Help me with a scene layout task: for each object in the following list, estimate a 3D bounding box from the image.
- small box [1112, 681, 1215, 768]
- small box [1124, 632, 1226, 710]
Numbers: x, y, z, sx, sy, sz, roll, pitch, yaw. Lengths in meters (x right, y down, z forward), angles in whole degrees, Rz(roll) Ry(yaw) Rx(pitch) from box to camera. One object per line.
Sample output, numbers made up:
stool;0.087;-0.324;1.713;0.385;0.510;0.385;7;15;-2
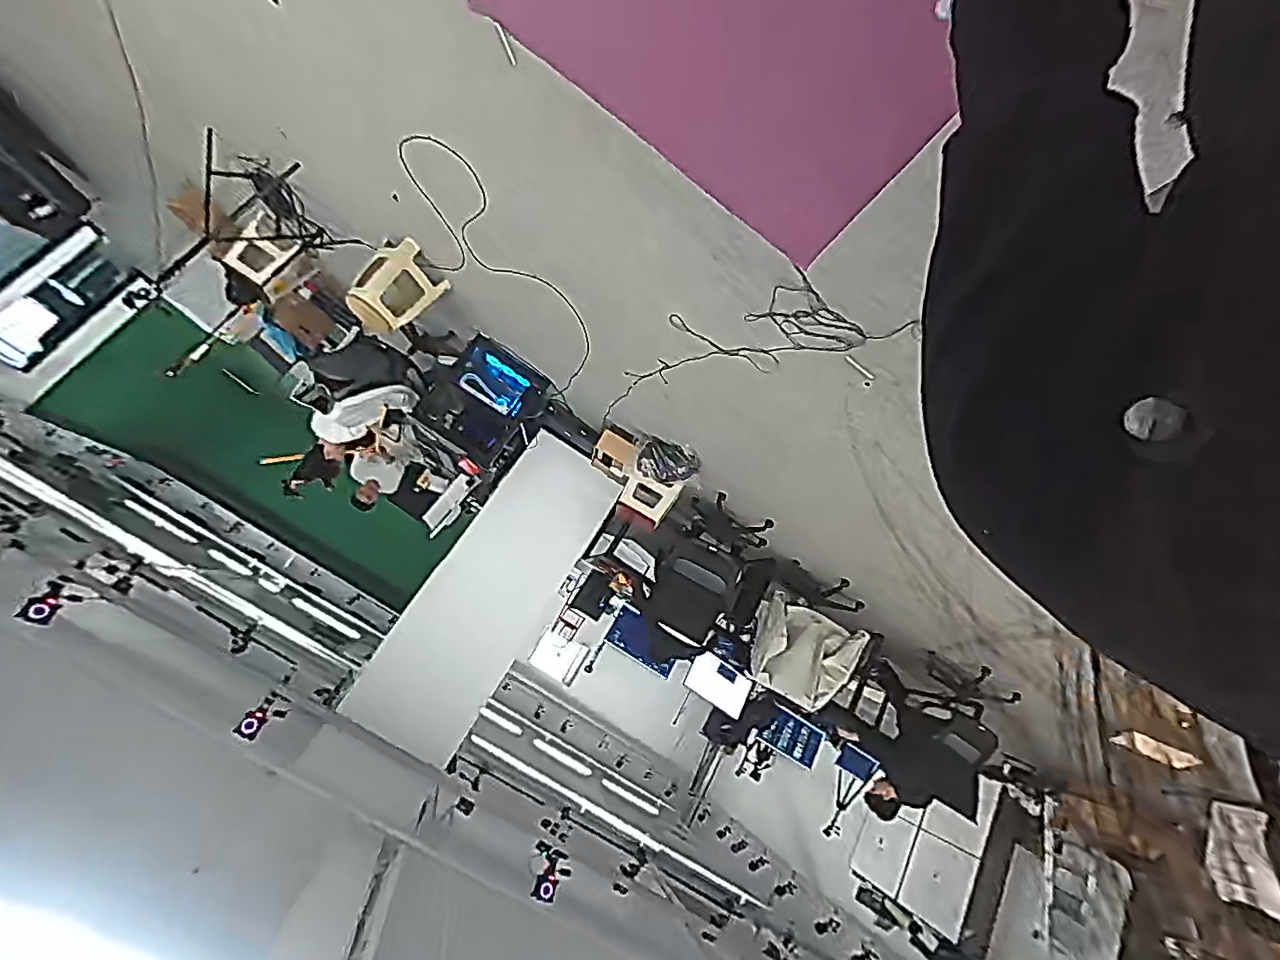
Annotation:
small box;1.542;0.717;1.594;0.168;0.176;0.179;20;158;31
small box;1.629;0.589;1.646;0.168;0.176;0.179;21;159;30
